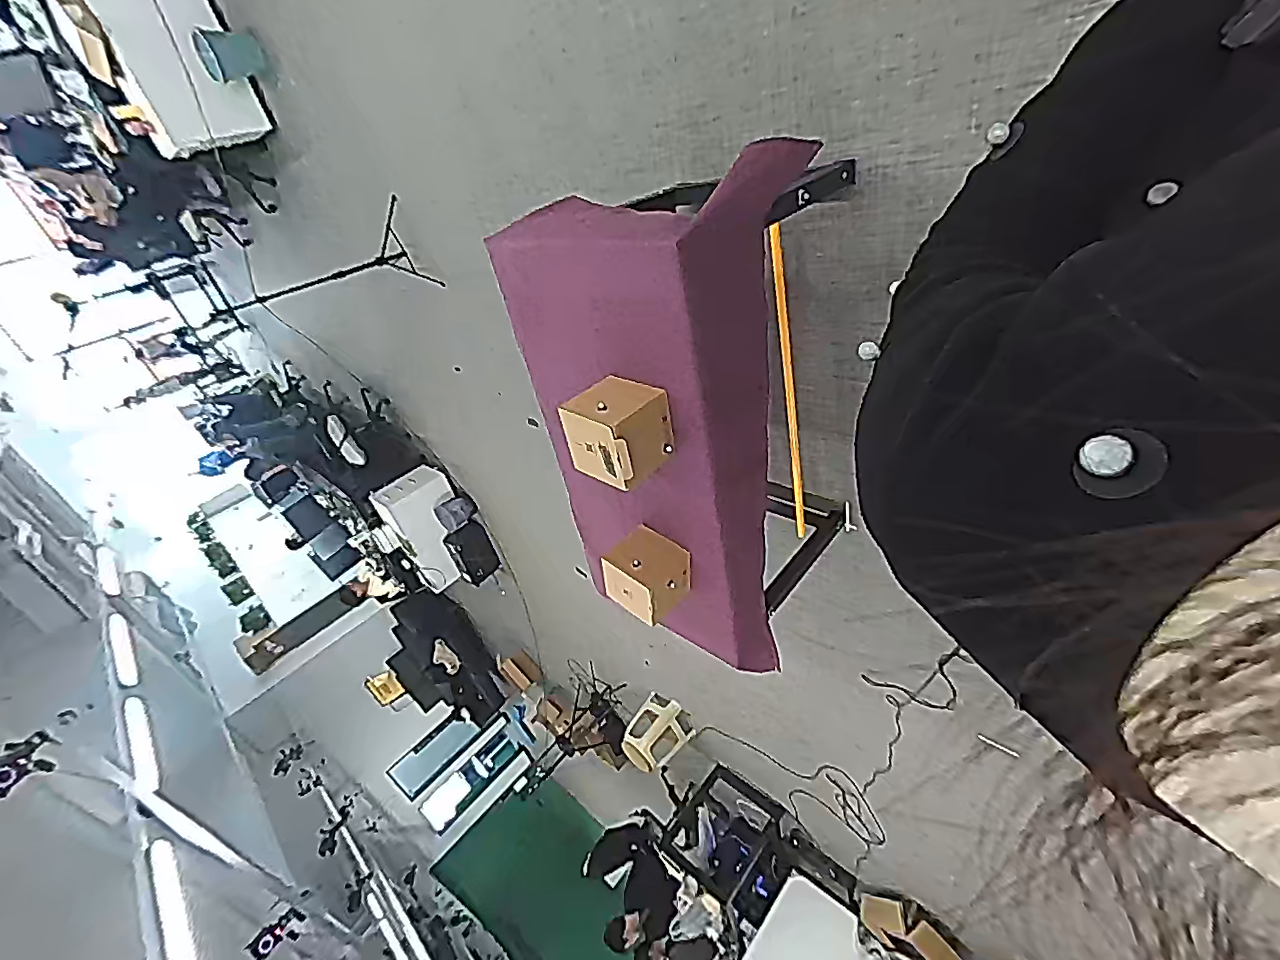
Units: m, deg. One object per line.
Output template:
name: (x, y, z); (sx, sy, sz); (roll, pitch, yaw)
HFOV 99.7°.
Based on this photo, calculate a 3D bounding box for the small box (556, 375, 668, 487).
small box: (-0.052, -0.116, 1.201); (0.179, 0.176, 0.168); (23, 138, 38)

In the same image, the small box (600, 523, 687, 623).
small box: (0.016, 0.248, 1.482); (0.179, 0.176, 0.168); (29, 141, 31)
